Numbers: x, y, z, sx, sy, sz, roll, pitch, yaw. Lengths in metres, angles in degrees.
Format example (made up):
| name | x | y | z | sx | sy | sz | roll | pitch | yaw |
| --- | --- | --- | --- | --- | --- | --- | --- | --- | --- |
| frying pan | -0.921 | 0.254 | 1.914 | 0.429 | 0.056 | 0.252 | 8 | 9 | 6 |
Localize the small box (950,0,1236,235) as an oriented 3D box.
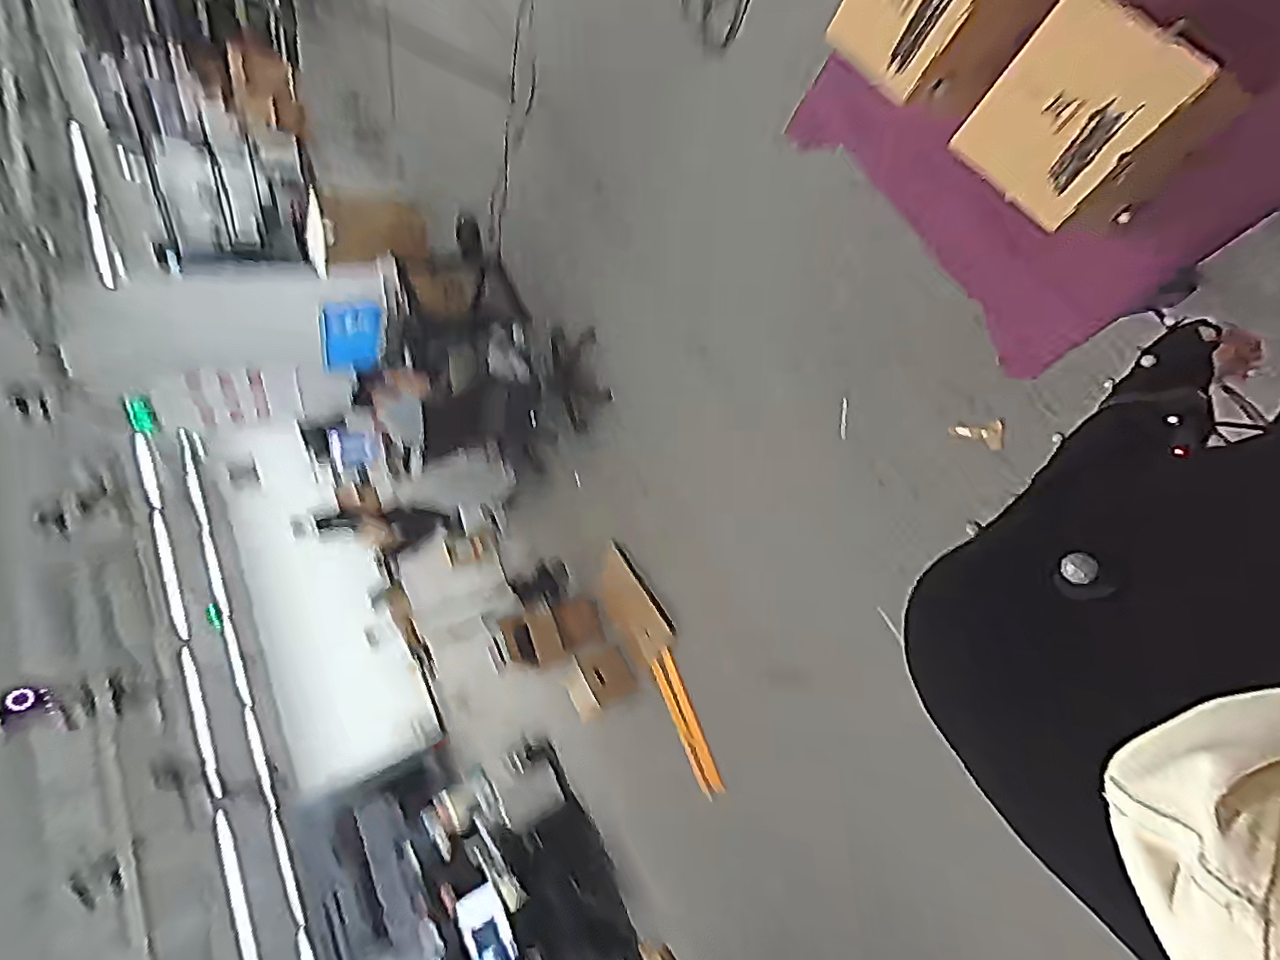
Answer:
| name | x | y | z | sx | sy | sz | roll | pitch | yaw |
| --- | --- | --- | --- | --- | --- | --- | --- | --- | --- |
| small box | 0.525 | -0.414 | 0.636 | 0.179 | 0.176 | 0.168 | 62 | 145 | 23 |
